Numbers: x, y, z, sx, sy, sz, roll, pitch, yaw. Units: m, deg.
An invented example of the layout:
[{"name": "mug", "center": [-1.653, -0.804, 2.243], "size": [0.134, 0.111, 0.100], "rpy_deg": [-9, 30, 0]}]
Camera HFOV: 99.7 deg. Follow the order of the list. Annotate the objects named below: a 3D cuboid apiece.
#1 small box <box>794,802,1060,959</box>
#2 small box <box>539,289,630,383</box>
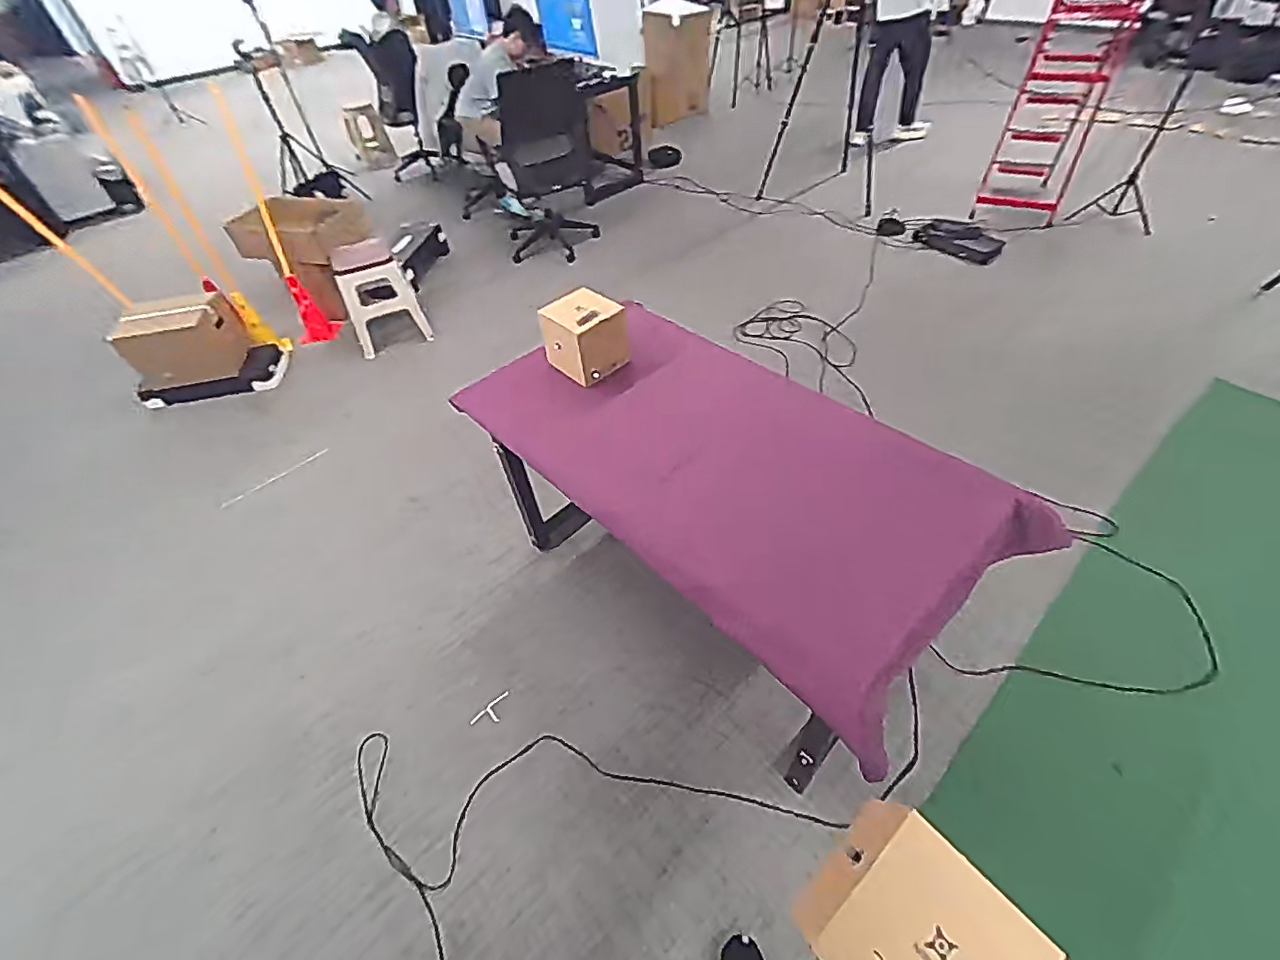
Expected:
[{"name": "small box", "center": [0.289, 0.484, 0.589], "size": [0.179, 0.176, 0.168], "rpy_deg": [-42, 65, -14]}, {"name": "small box", "center": [-0.144, -0.386, 1.465], "size": [0.168, 0.176, 0.179], "rpy_deg": [-36, 53, -25]}]
